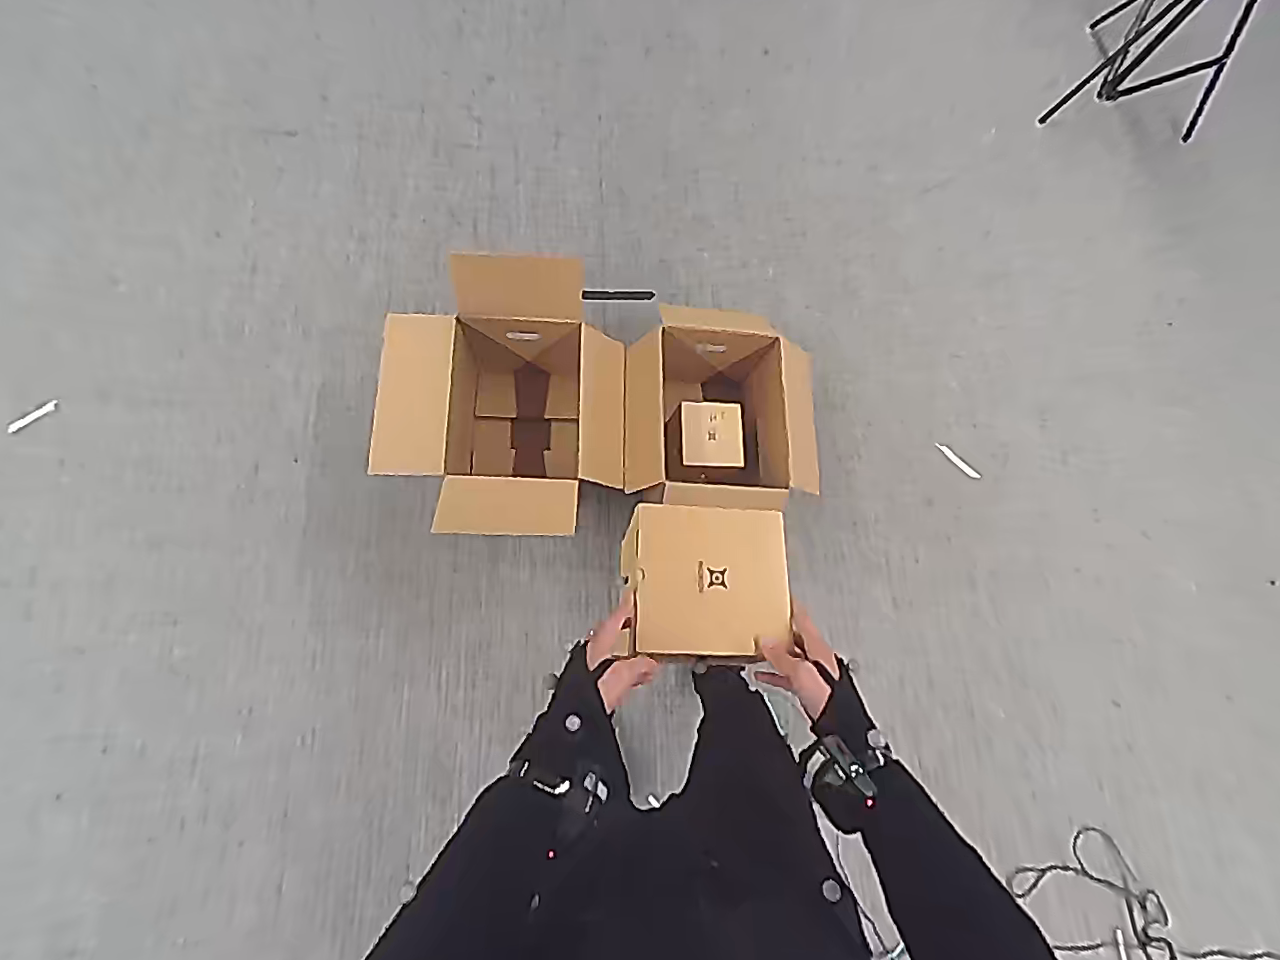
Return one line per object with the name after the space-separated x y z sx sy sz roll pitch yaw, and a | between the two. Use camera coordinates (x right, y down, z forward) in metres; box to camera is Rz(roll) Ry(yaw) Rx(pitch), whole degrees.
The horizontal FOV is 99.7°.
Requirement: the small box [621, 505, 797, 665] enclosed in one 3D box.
0.073 0.137 0.666 0.179 0.176 0.168 3 69 -5 | small box
